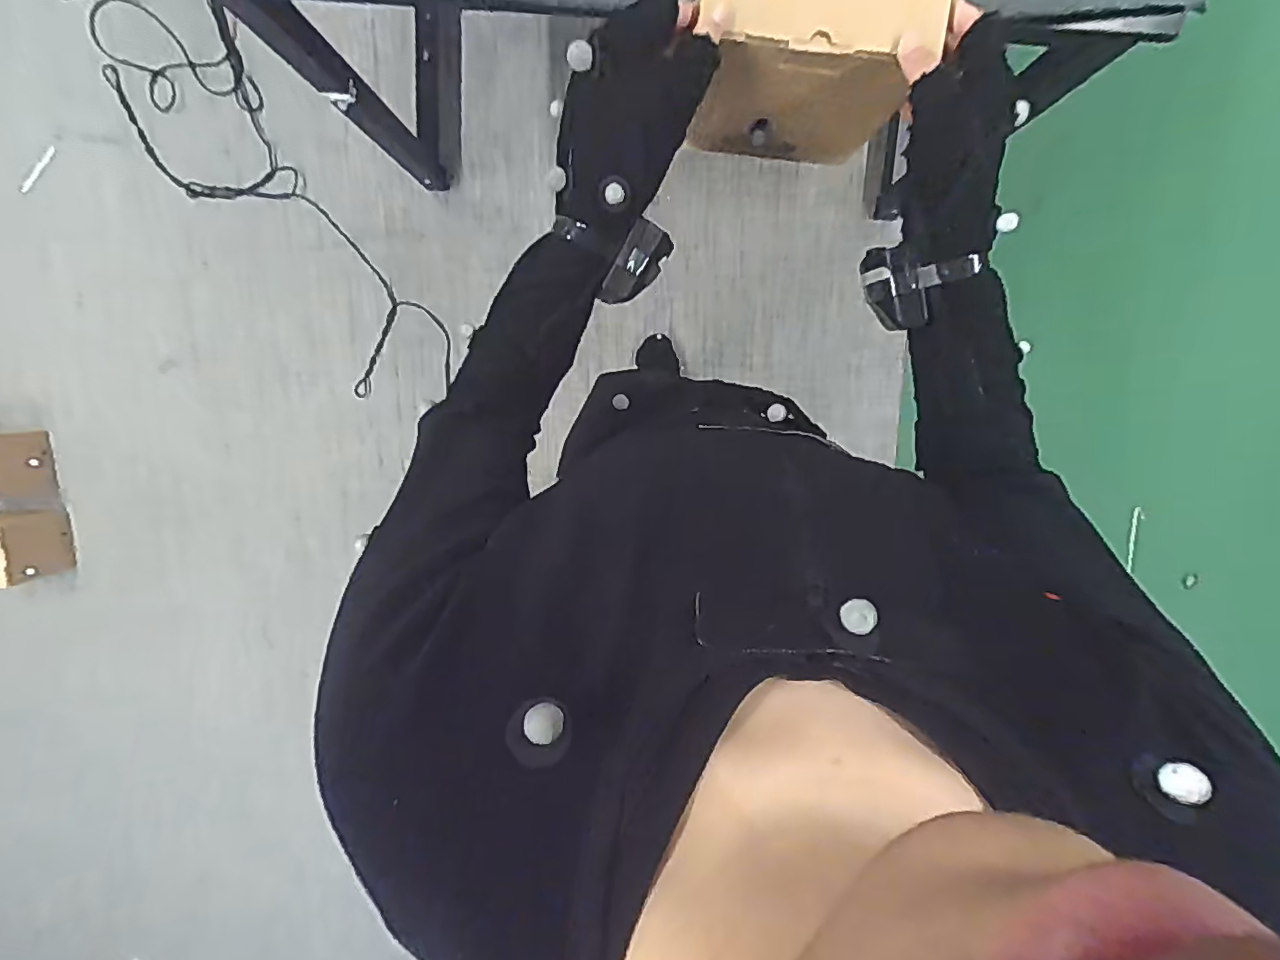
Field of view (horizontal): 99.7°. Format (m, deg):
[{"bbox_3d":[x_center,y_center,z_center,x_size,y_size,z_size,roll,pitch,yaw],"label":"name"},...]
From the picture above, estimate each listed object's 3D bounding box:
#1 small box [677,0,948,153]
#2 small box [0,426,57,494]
[{"bbox_3d":[0.123,-0.390,0.419,0.168,0.176,0.179,5,100,-2],"label":"small box"},{"bbox_3d":[-1.693,-0.051,1.402,0.179,0.176,0.168,0,100,1],"label":"small box"}]
